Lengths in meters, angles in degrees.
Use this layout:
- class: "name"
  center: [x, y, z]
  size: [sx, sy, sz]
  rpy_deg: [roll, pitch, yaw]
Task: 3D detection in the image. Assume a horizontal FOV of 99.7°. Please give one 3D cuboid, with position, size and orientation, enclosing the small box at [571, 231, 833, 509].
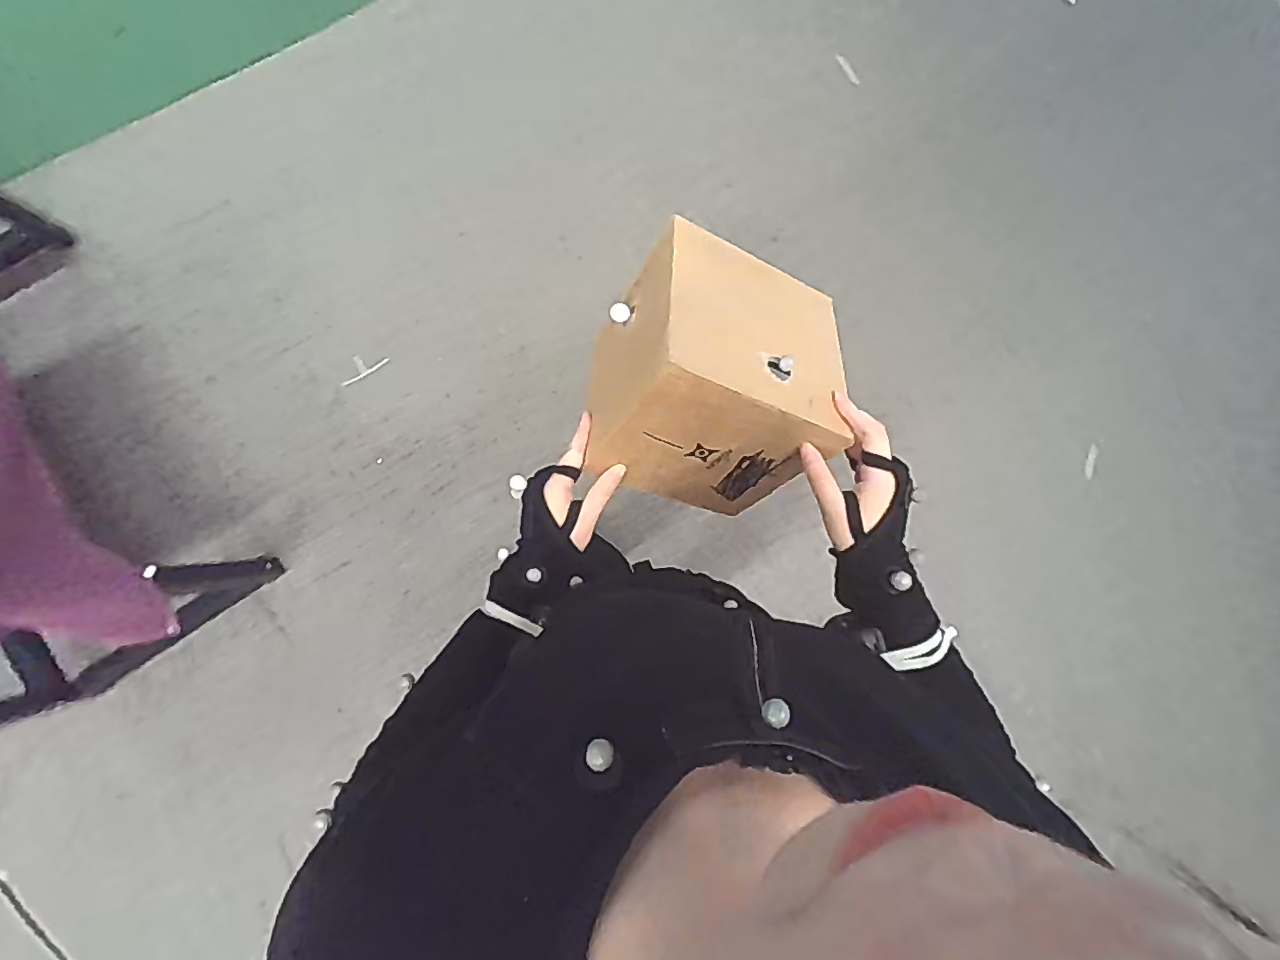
- class: "small box"
  center: [0.053, -0.096, 0.512]
  size: [0.179, 0.168, 0.176]
  rpy_deg: [18, 57, -21]
